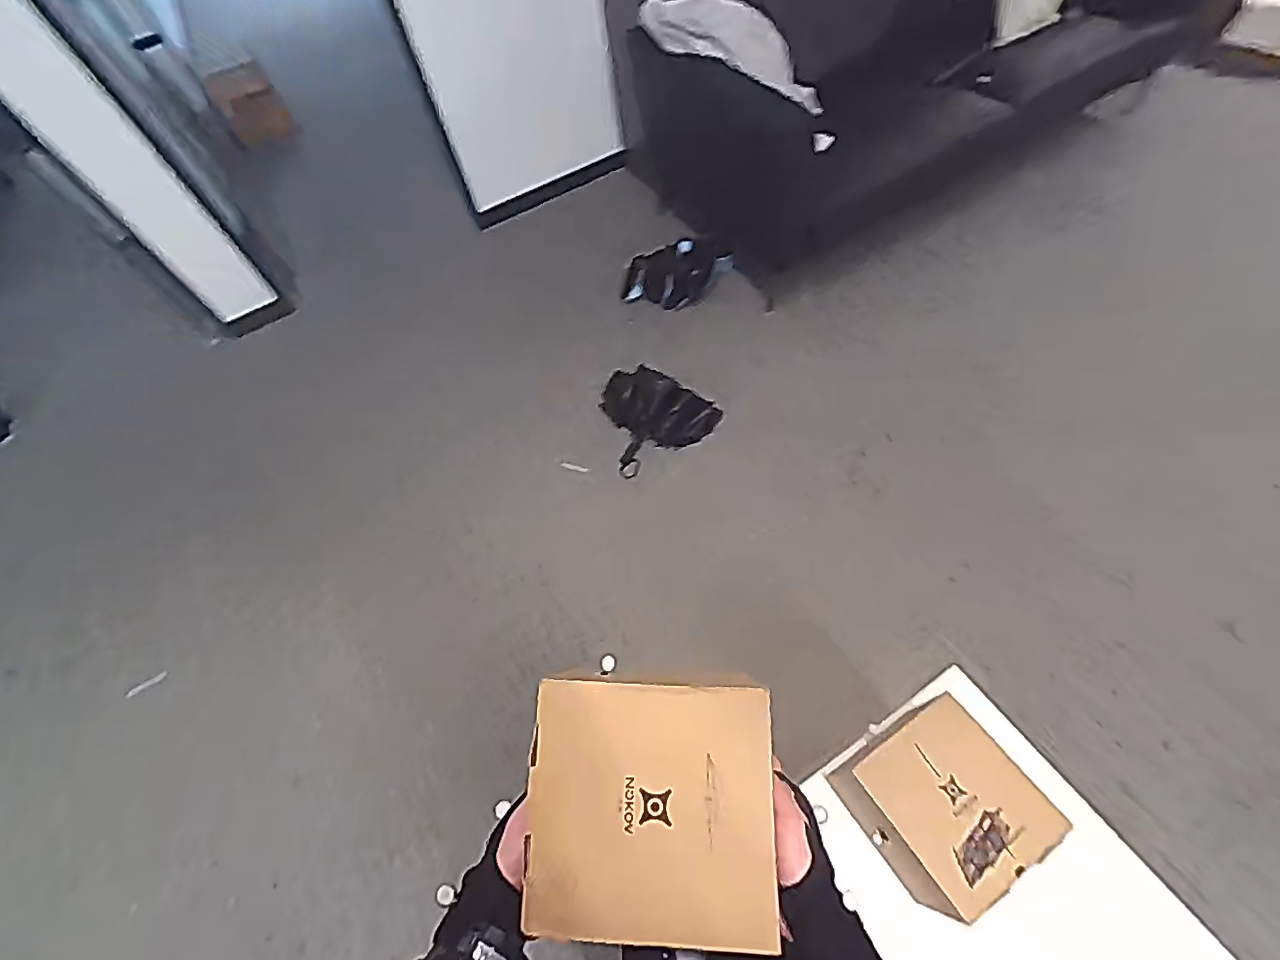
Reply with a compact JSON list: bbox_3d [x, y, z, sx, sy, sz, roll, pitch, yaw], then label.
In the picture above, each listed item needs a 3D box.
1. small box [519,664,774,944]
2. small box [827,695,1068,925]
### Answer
[{"bbox_3d":[0.010,0.250,0.461,0.179,0.176,0.168,-1,75,4],"label":"small box"},{"bbox_3d":[0.369,0.407,0.688,0.168,0.176,0.179,-30,60,-12],"label":"small box"}]
